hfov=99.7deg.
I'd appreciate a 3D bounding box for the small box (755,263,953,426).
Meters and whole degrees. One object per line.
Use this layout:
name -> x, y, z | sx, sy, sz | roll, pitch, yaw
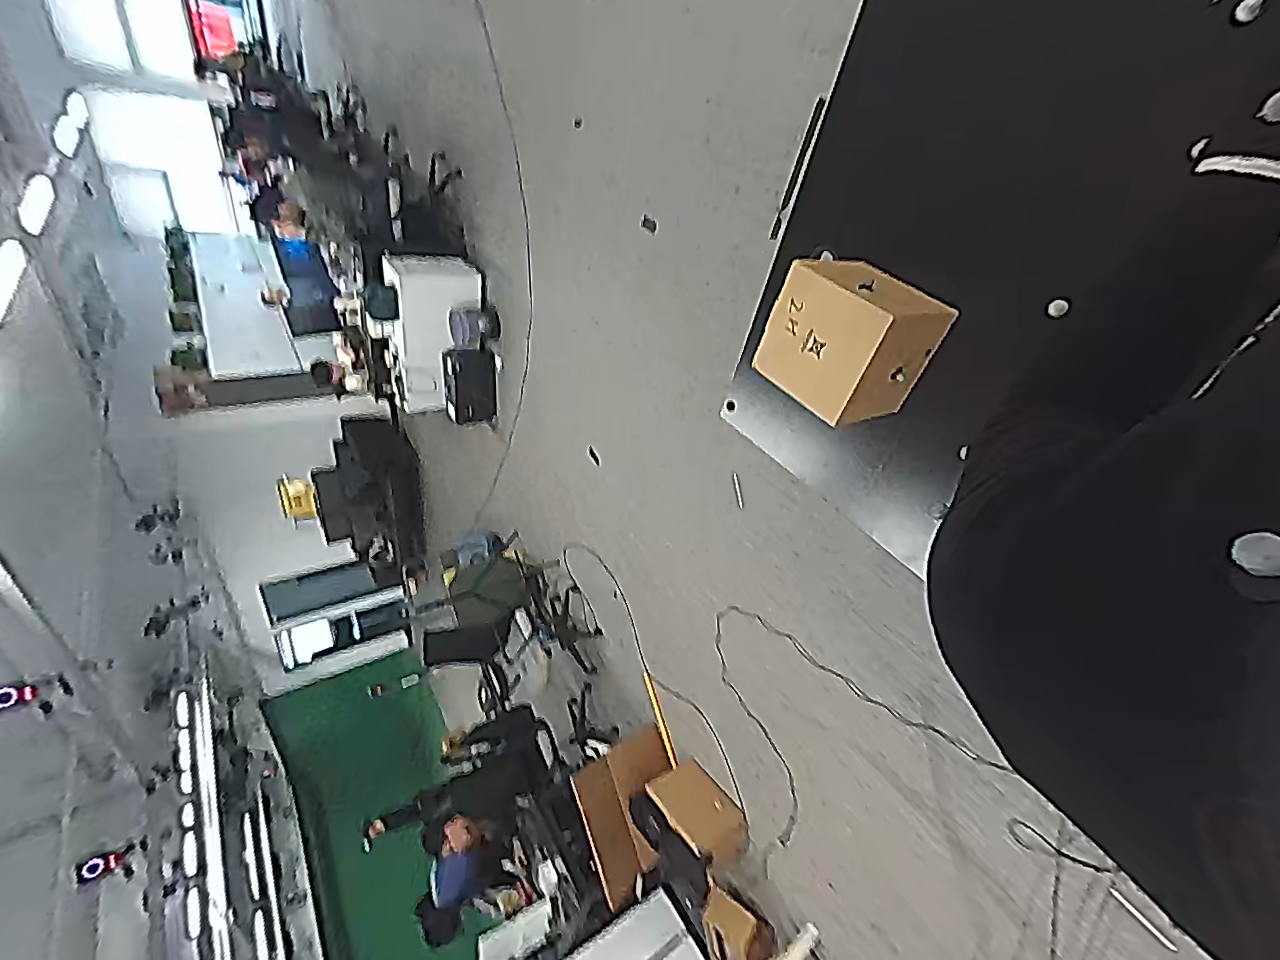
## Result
small box -> 0.308, -0.204, 0.789 | 0.179, 0.176, 0.168 | 50, 138, 35
